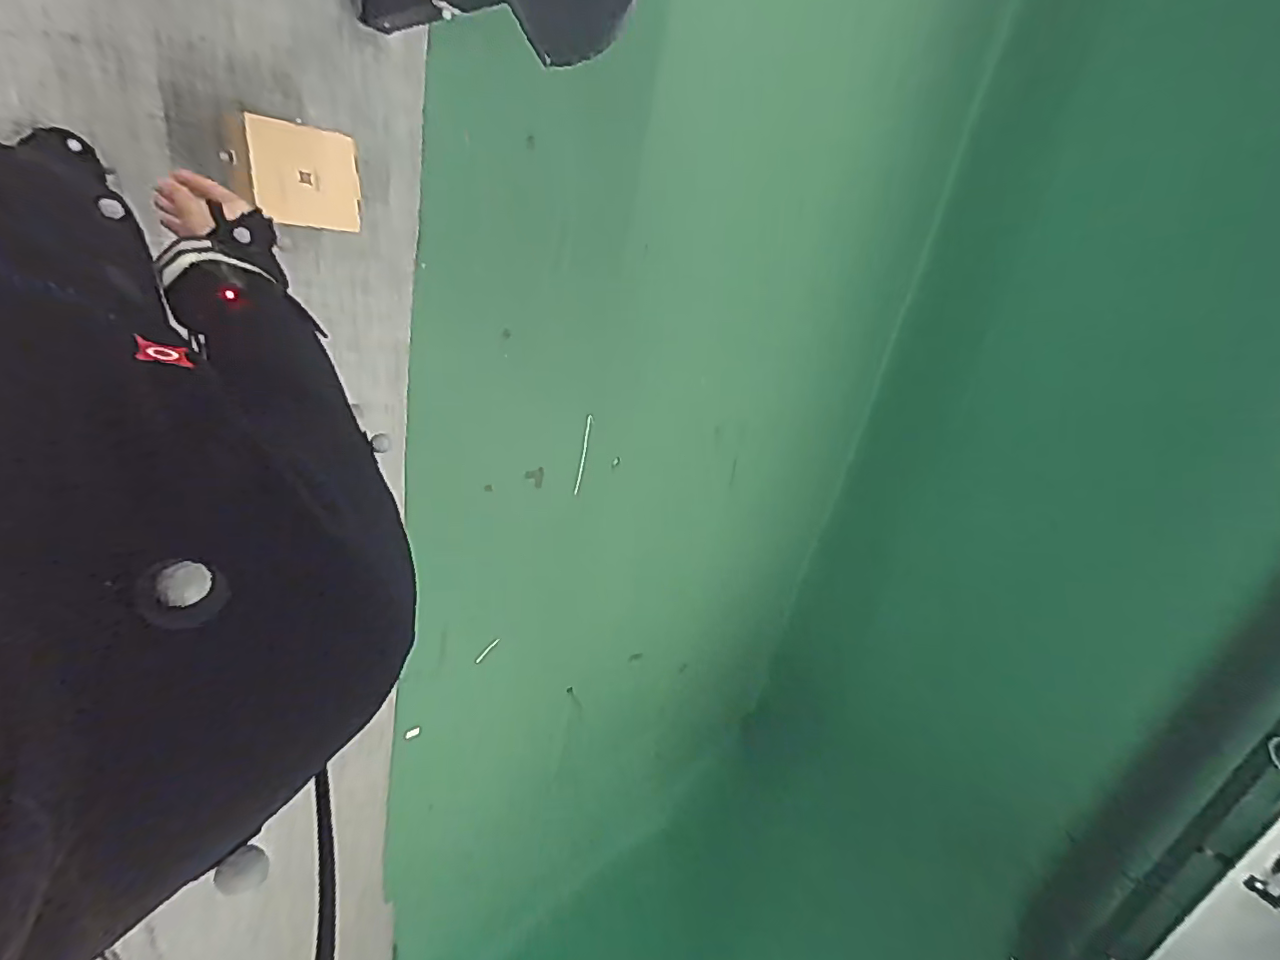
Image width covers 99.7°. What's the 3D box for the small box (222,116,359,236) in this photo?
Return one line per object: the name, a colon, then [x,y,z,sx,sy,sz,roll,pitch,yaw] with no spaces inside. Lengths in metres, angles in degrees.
small box: [-0.659,-0.572,1.025,0.179,0.176,0.168,-14,122,-43]
